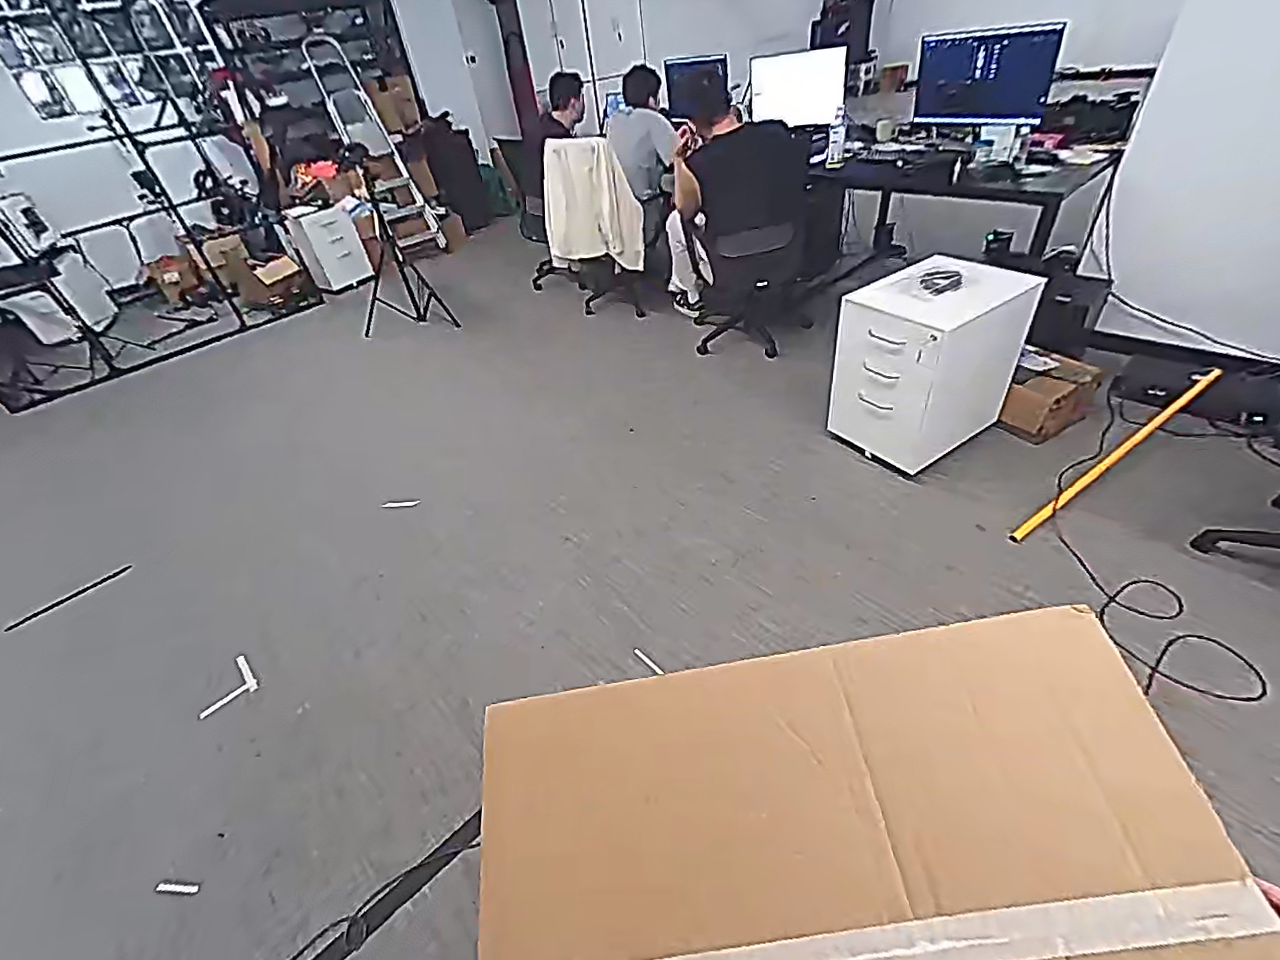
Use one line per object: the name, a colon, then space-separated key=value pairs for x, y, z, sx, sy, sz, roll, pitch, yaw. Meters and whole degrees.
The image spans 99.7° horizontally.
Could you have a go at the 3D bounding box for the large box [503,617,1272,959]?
large box: x=0.139 y=0.335 z=0.419 sx=0.408 sy=0.320 sz=0.320 roll=-12 pitch=59 yaw=4
